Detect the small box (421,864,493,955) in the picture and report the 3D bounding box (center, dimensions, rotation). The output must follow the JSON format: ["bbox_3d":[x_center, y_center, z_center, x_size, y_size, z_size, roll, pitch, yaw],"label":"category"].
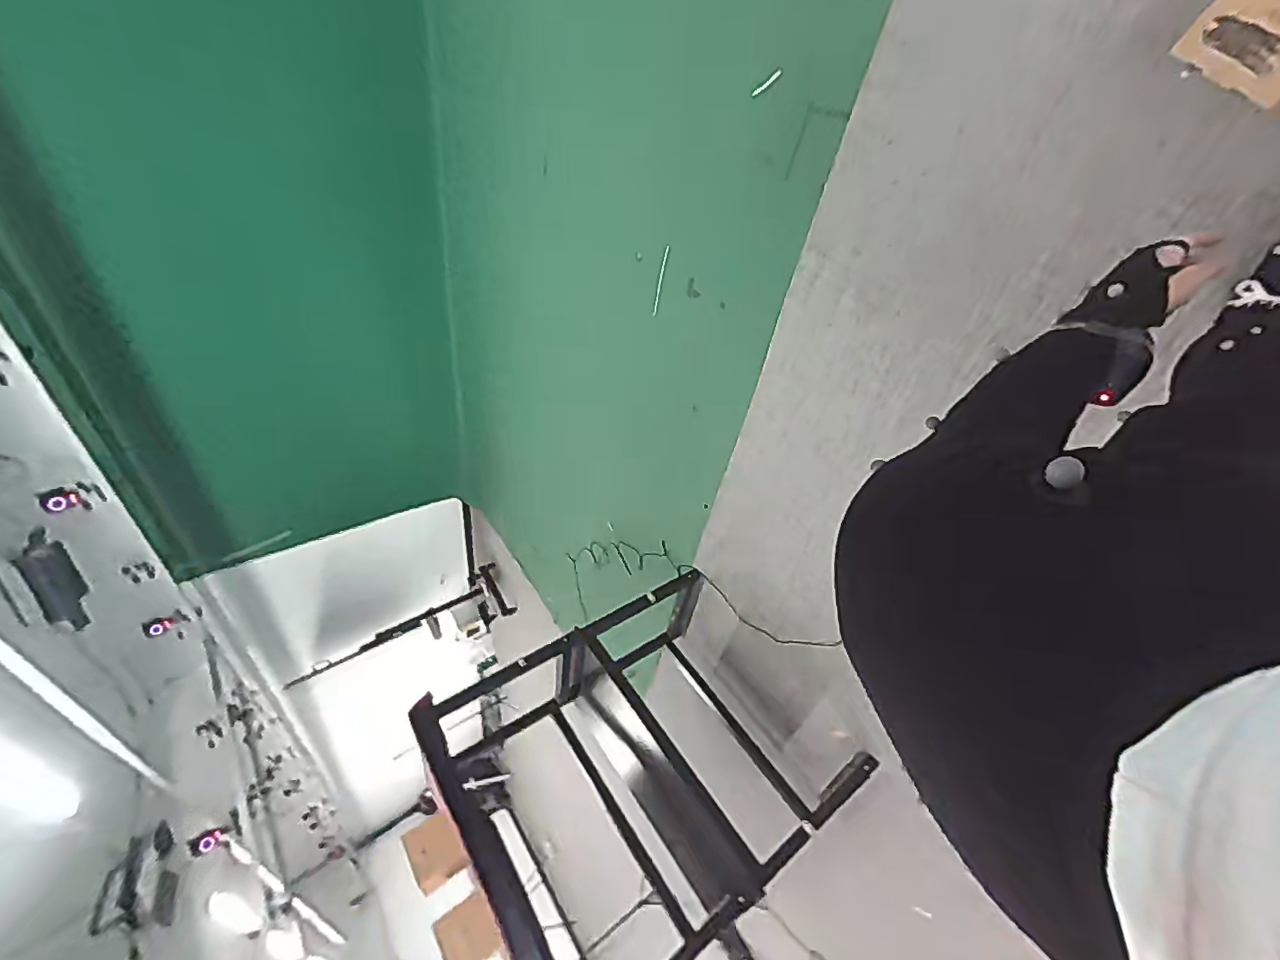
[{"bbox_3d":[-0.599,1.403,1.777,0.179,0.176,0.168,48,144,27],"label":"small box"}]

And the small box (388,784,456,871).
[{"bbox_3d":[-0.762,1.226,1.912,0.179,0.176,0.168,46,142,30],"label":"small box"}]

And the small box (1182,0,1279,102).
[{"bbox_3d":[1.026,-0.728,0.846,0.168,0.176,0.179,58,146,13],"label":"small box"}]
